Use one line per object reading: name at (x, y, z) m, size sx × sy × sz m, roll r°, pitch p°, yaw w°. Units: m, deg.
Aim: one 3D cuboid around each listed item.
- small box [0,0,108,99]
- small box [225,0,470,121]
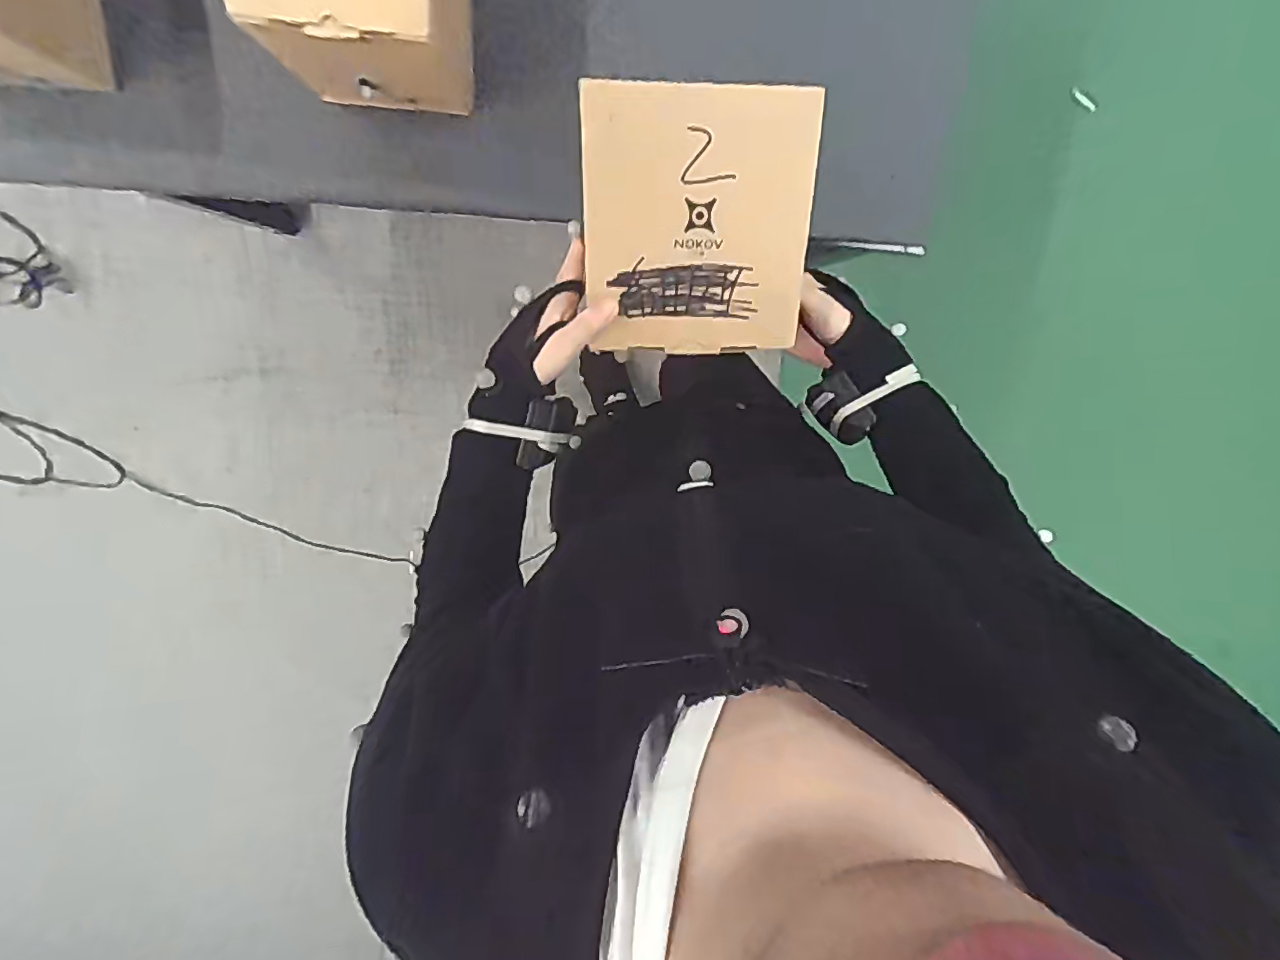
small box at (-0.633, -0.474, 0.473) m, size 0.168 × 0.176 × 0.179 m, roll 1°, pitch 105°, yaw -5°
small box at (-0.261, -0.476, 0.510) m, size 0.168 × 0.176 × 0.179 m, roll 2°, pitch 105°, yaw -6°
